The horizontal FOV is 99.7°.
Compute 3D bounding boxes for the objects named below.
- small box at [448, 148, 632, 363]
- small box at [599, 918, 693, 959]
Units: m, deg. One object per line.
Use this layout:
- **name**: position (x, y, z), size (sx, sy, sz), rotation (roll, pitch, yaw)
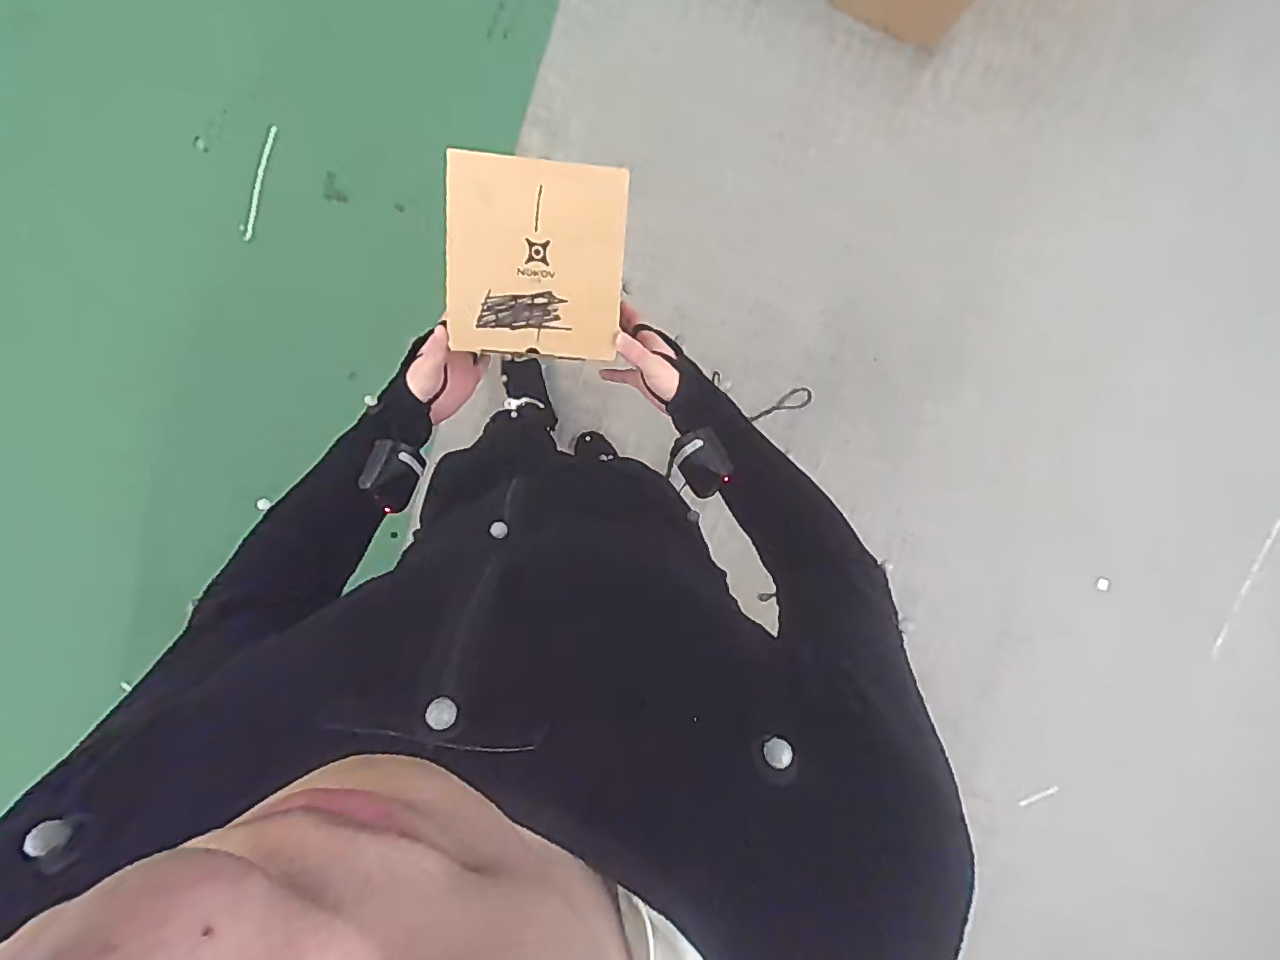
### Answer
- **small box**: position (-0.100, -0.226, 0.586), size (0.168, 0.176, 0.179), rotation (5, 104, -5)
- **small box**: position (0.003, 0.932, 0.949), size (0.168, 0.176, 0.179), rotation (12, 99, -2)
